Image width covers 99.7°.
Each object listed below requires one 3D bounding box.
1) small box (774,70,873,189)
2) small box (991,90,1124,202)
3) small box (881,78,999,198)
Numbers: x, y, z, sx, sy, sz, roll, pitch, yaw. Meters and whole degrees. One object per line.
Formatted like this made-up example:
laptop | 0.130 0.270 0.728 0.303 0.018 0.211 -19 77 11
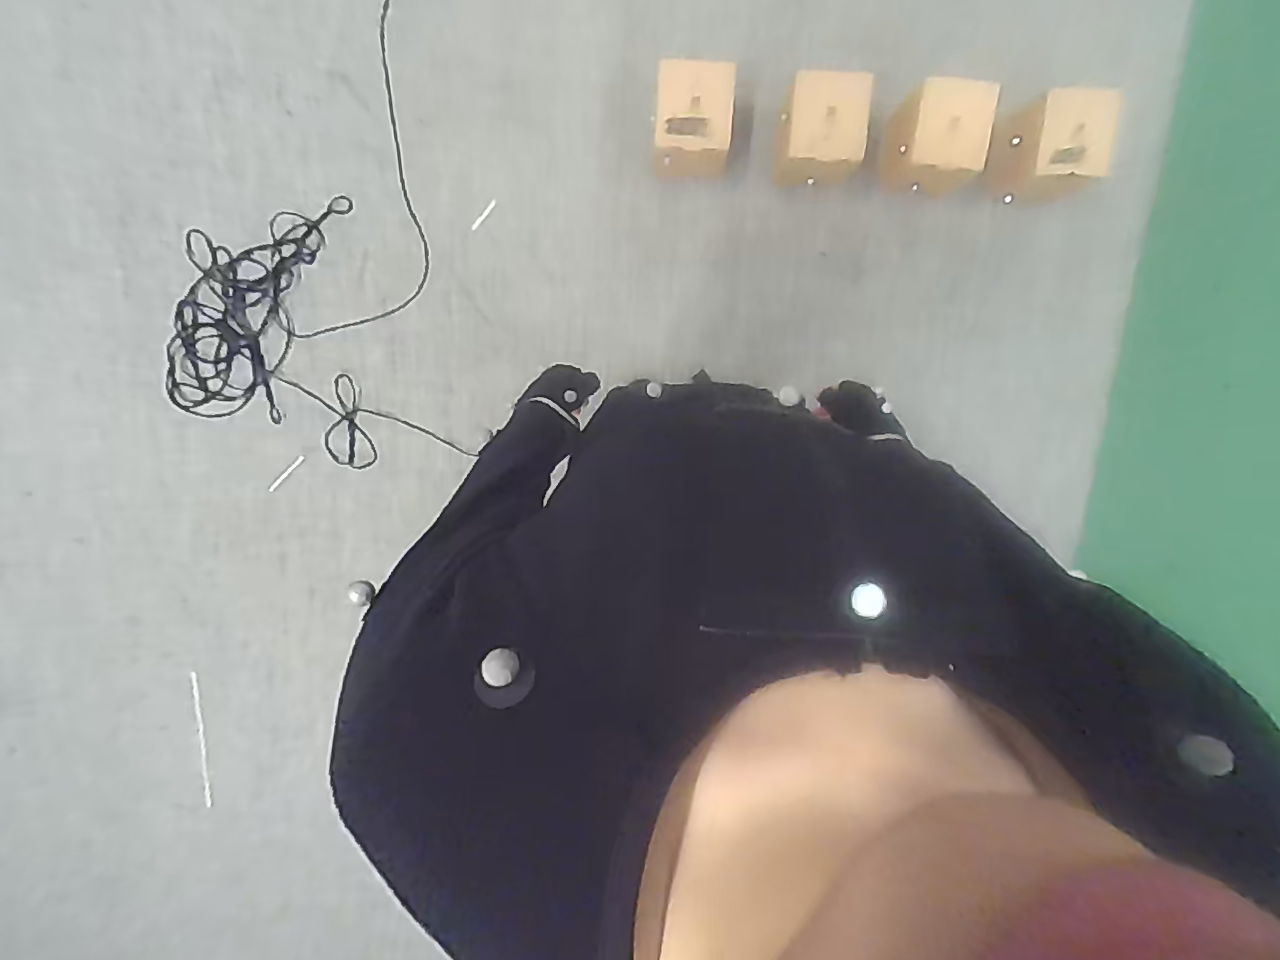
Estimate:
small box | 0.413 -0.797 1.245 0.168 0.176 0.179 4 101 1
small box | 0.948 -0.758 1.247 0.168 0.176 0.179 2 100 0
small box | 0.680 -0.779 1.247 0.168 0.176 0.179 6 101 -1
